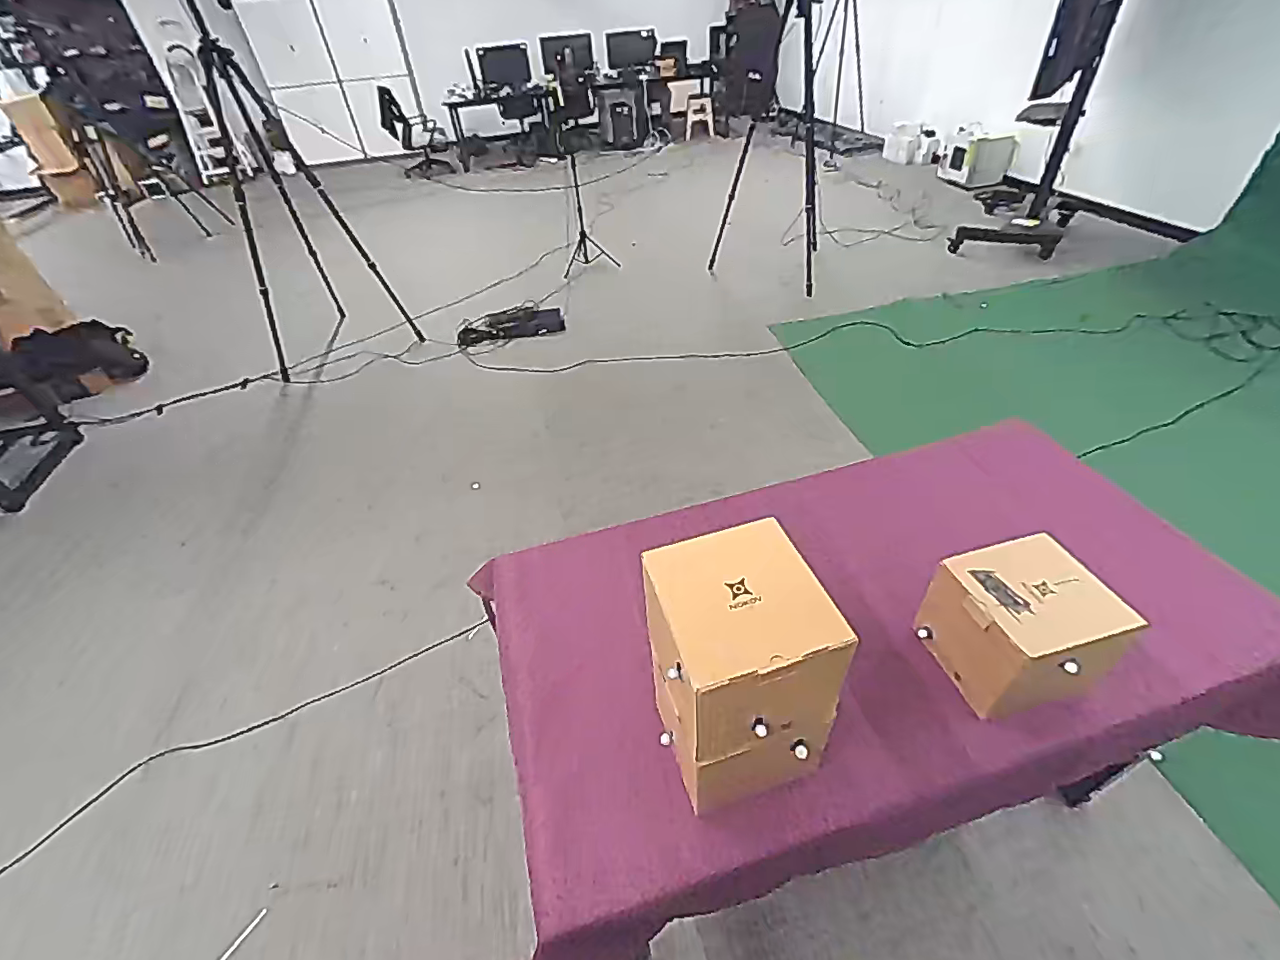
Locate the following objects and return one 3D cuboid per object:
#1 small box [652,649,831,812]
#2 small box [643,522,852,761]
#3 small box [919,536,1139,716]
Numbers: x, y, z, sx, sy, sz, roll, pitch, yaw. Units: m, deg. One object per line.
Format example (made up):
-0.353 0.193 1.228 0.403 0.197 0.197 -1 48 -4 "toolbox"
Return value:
0.123 0.305 0.718 0.179 0.176 0.168 -14 41 -10 "small box"
0.106 0.180 0.614 0.168 0.176 0.179 -14 43 -10 "small box"
0.532 0.211 0.776 0.179 0.176 0.168 -12 42 -8 "small box"
